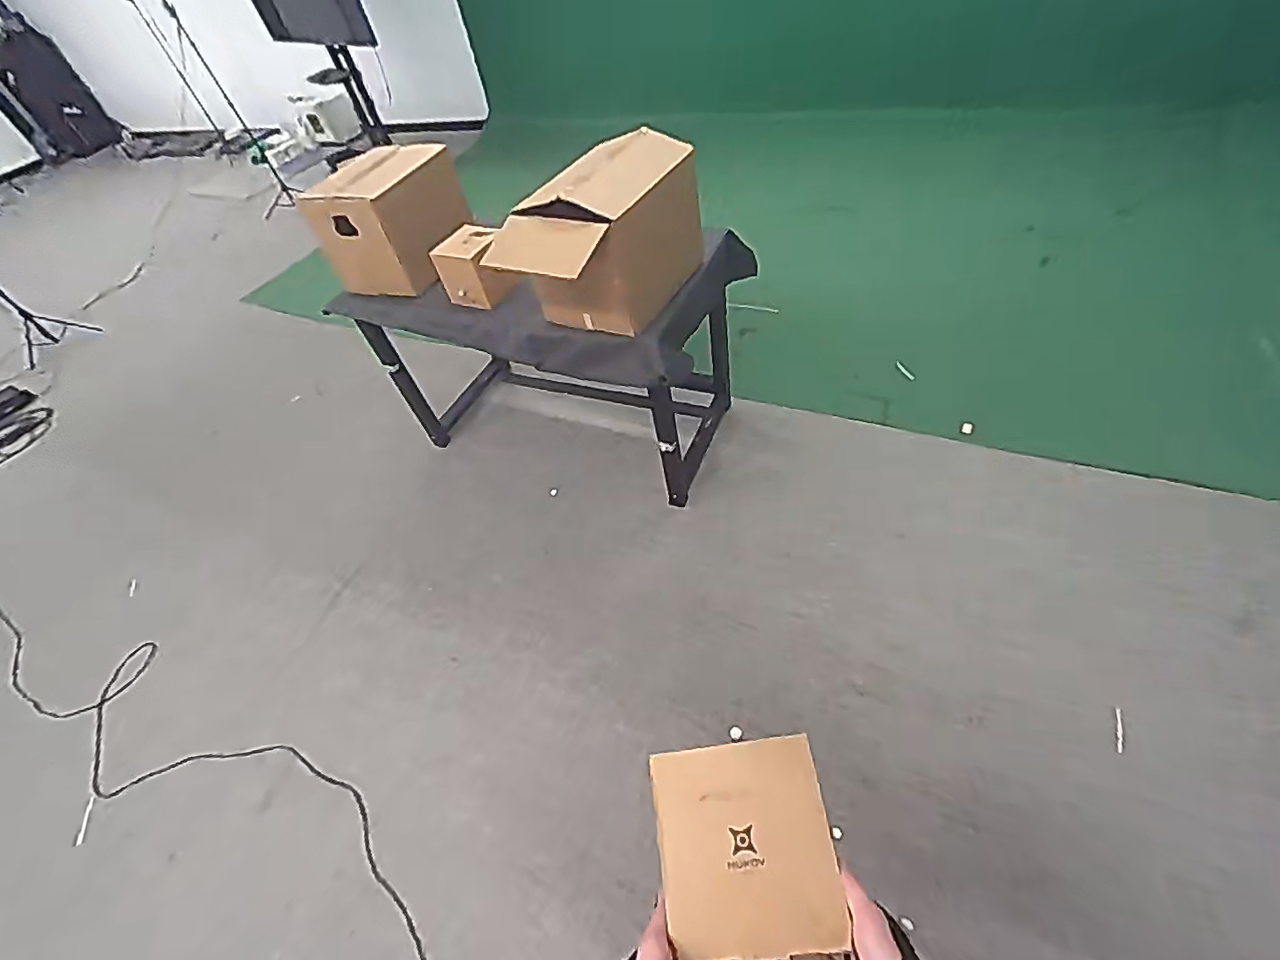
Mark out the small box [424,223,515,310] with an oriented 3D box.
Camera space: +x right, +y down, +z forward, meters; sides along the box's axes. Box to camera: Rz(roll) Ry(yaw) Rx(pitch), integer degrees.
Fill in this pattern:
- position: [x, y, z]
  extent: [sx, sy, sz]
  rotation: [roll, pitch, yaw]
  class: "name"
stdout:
- position: [-0.494, -0.632, 1.603]
  extent: [0.168, 0.176, 0.179]
  rotation: [16, 57, 24]
  class: "small box"
